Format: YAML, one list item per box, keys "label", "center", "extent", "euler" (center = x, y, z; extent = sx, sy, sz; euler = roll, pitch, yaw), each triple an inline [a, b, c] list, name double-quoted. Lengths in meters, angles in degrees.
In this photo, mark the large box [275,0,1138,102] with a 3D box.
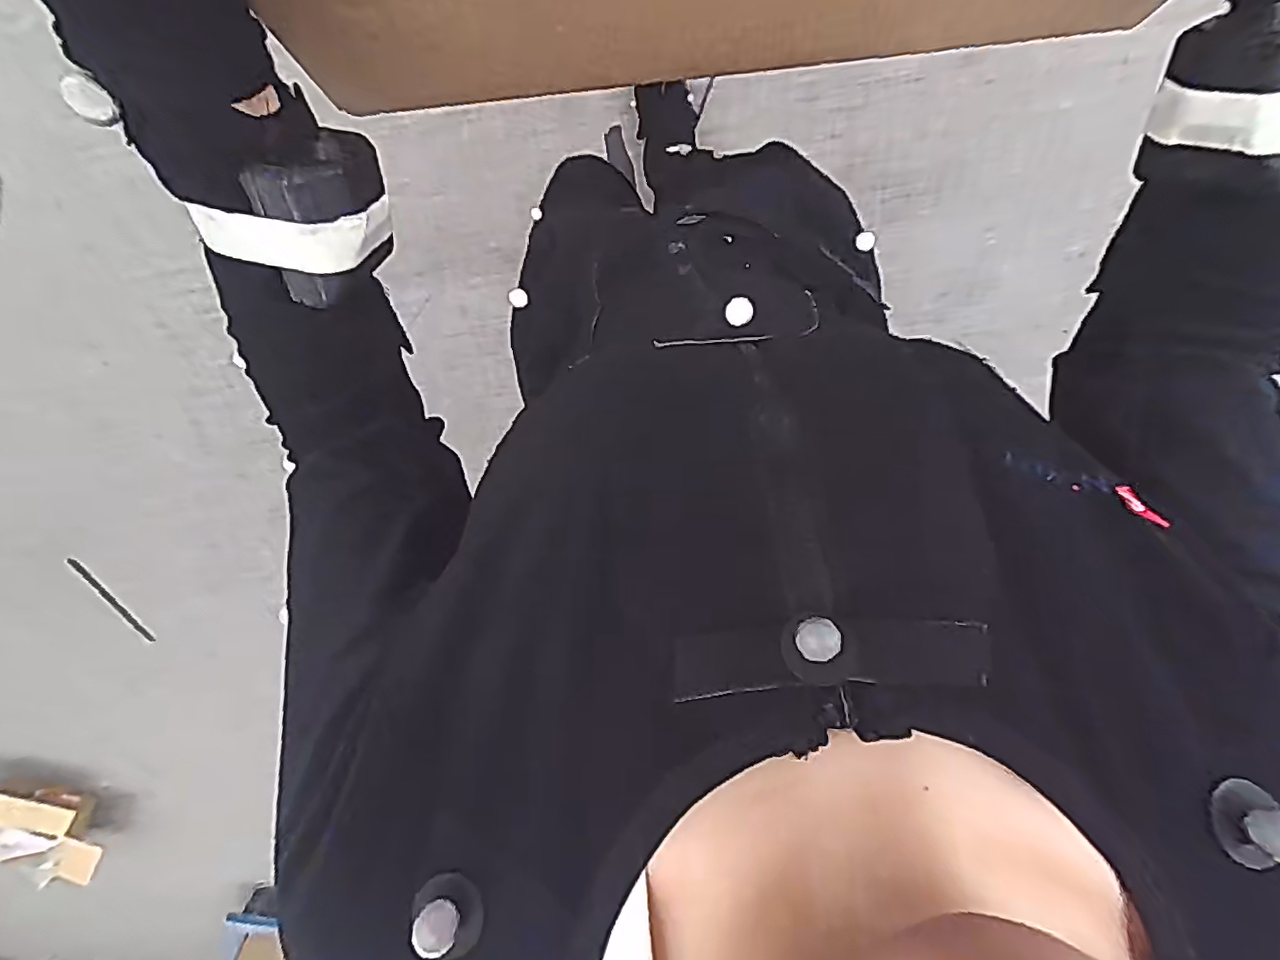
- label: "large box"
  center: [0.027, -0.366, 0.129]
  extent: [0.408, 0.320, 0.320]
  euler: [-5, 91, 2]
